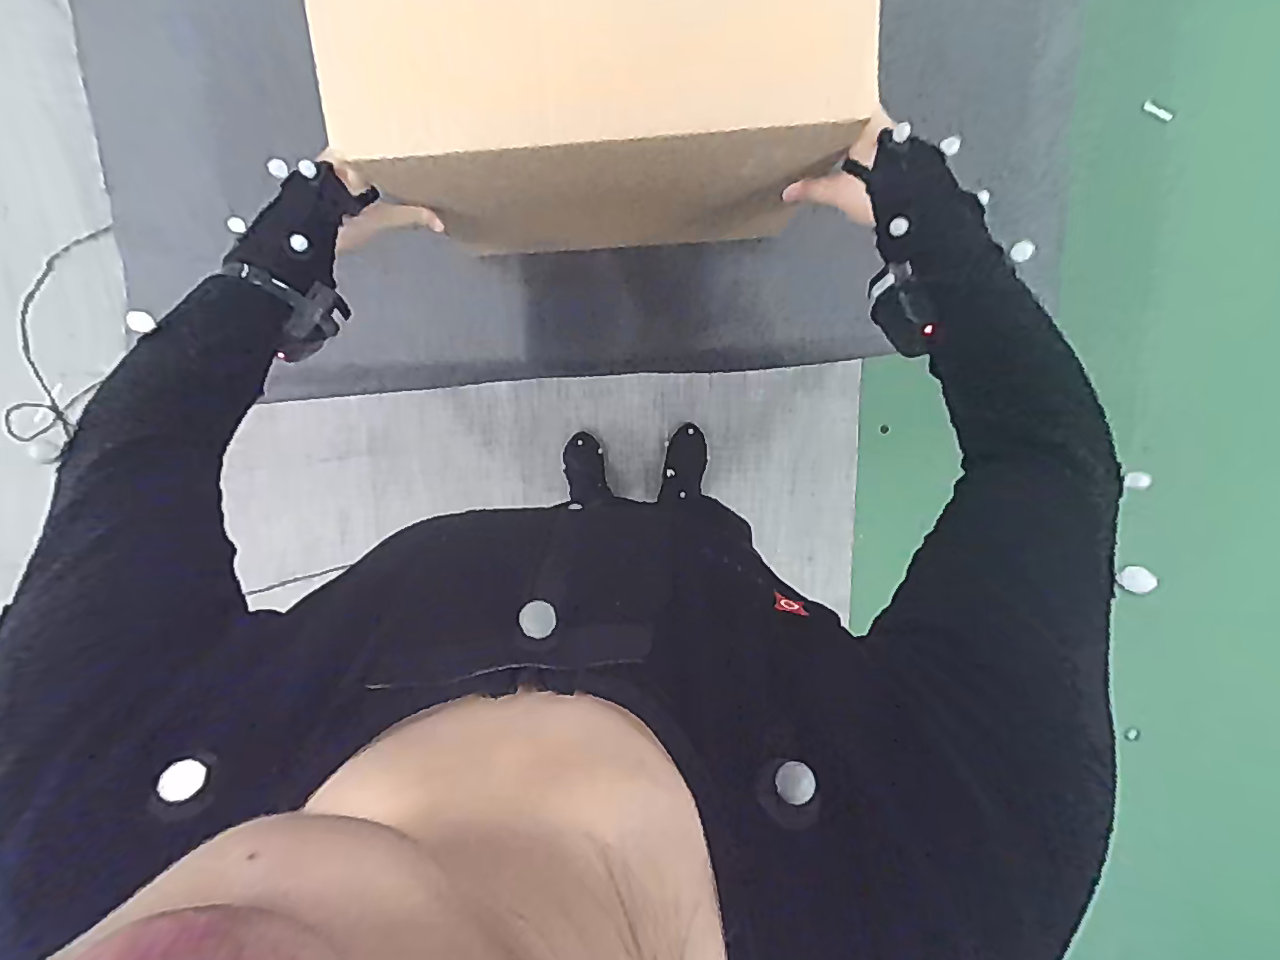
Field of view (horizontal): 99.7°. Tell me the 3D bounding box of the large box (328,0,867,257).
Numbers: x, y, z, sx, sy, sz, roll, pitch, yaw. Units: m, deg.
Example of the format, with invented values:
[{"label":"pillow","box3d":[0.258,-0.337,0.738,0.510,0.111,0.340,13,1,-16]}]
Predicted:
[{"label":"large box","box3d":[-0.037,-0.433,0.538,0.408,0.320,0.320,-4,100,1]}]
